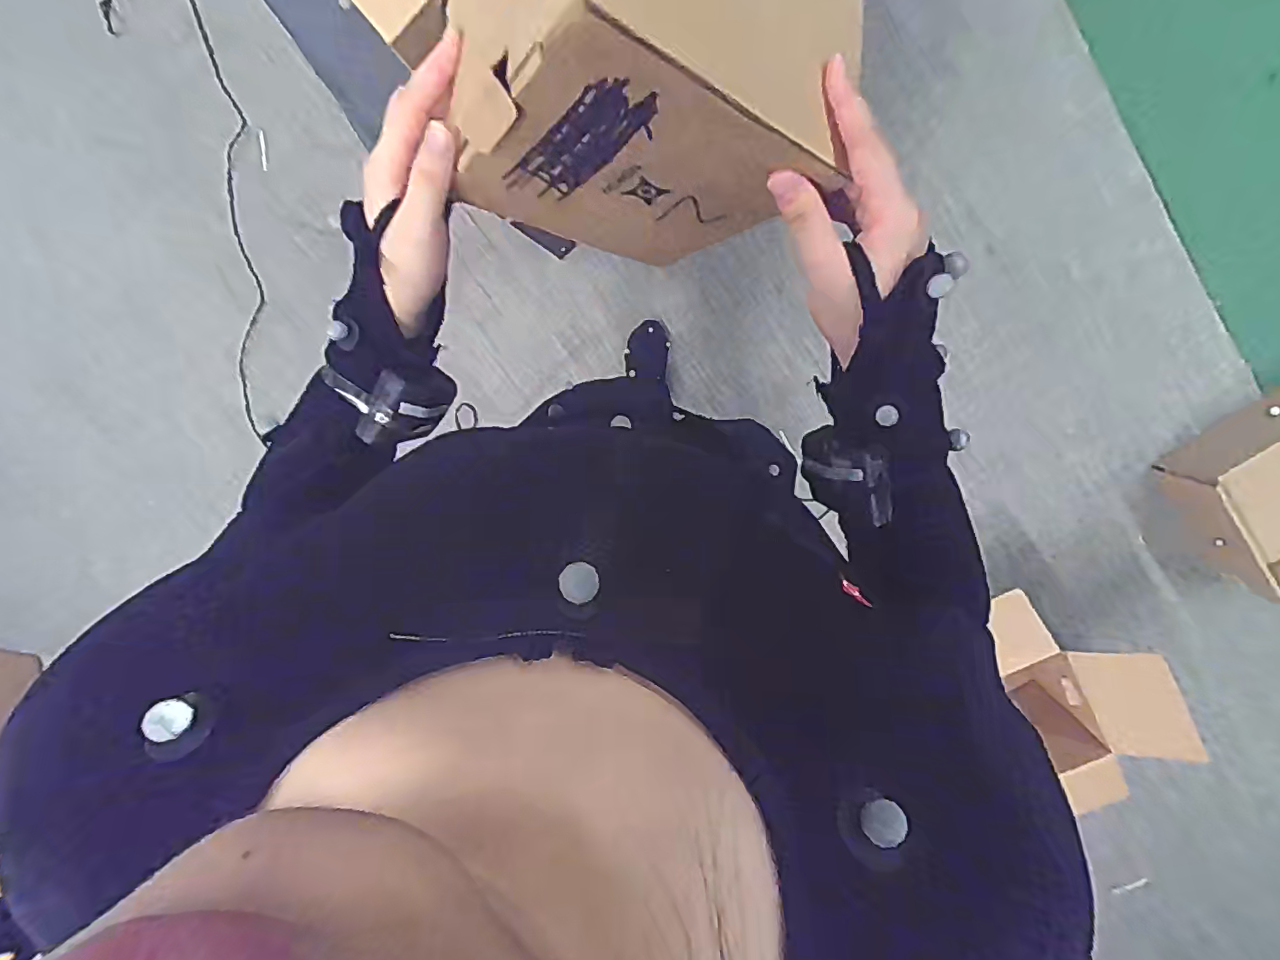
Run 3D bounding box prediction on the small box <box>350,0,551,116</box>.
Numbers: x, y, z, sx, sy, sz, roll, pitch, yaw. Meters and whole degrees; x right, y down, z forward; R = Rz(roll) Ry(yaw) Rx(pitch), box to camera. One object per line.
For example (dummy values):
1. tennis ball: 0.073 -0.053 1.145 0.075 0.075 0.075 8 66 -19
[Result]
1. small box: -0.219 -0.529 0.553 0.168 0.176 0.179 -40 97 12
